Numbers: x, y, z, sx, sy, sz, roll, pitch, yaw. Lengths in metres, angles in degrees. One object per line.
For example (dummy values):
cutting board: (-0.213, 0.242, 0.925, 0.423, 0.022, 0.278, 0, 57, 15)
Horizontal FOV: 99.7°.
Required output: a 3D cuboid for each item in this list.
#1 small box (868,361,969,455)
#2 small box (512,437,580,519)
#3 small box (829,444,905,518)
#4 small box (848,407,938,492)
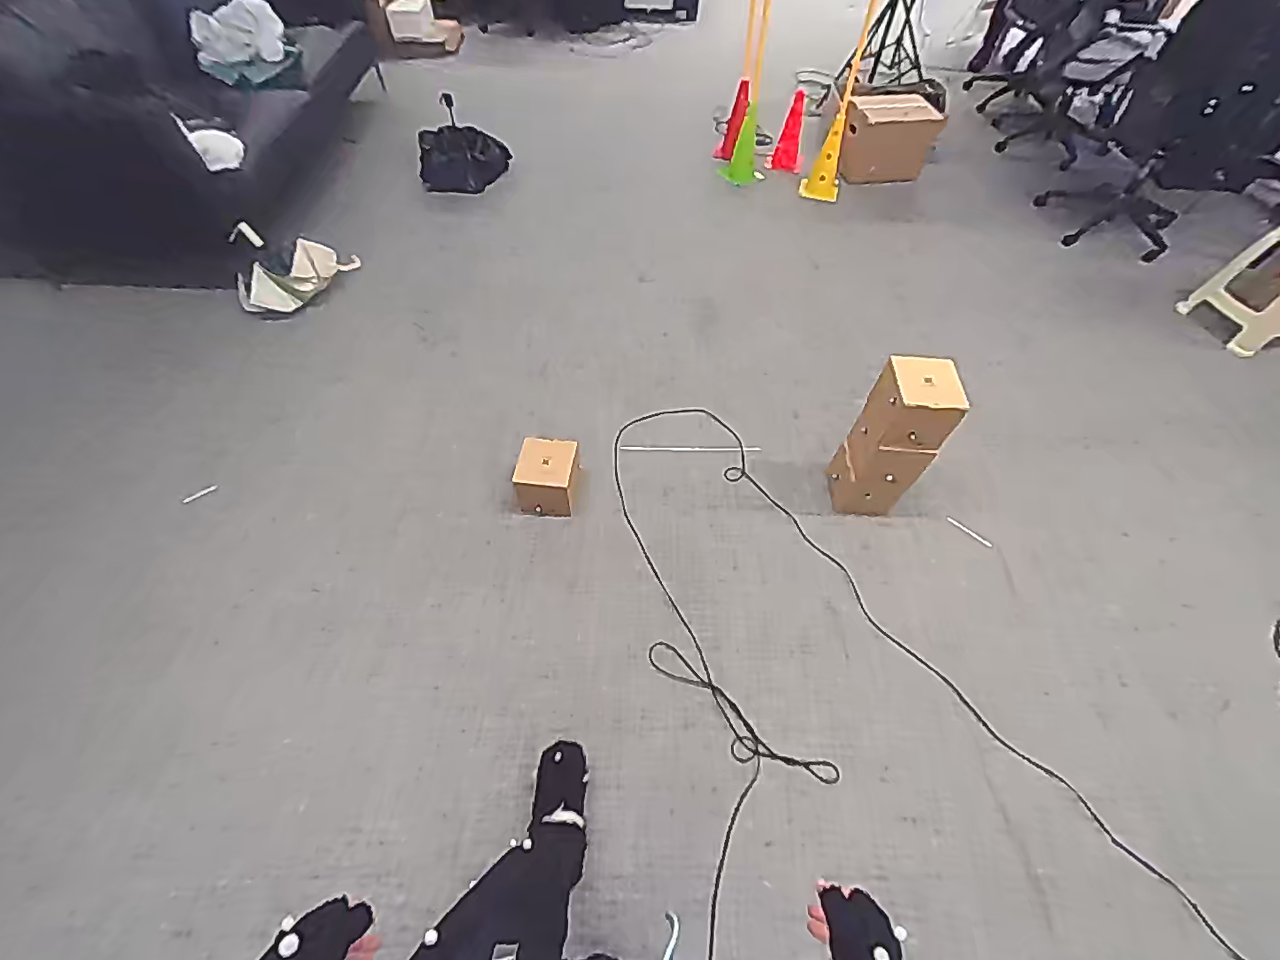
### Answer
small box: (0.724, -0.190, 1.432, 0.168, 0.176, 0.179, 4, 55, 0)
small box: (-0.280, -0.005, 1.655, 0.168, 0.176, 0.179, 6, 55, 3)
small box: (0.706, 0.006, 1.694, 0.179, 0.176, 0.168, 3, 55, 0)
small box: (0.718, -0.088, 1.559, 0.168, 0.176, 0.179, 4, 55, 0)
